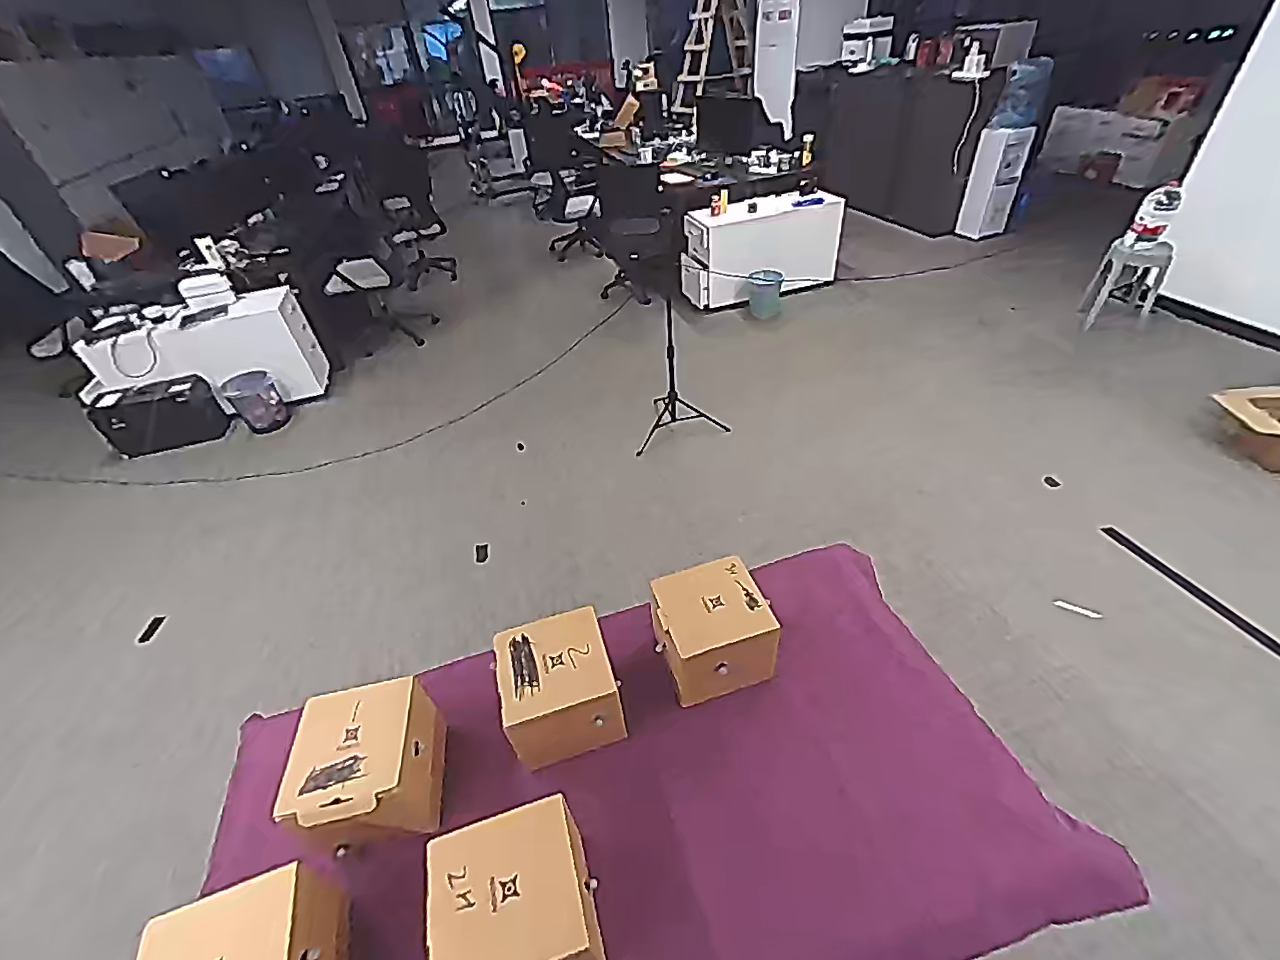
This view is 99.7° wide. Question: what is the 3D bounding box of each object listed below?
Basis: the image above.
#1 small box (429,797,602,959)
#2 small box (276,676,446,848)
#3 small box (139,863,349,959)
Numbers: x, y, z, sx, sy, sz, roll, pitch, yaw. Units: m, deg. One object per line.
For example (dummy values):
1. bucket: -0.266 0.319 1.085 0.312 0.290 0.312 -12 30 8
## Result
1. small box: -0.151 0.540 0.679 0.179 0.176 0.168 -15 41 -10
2. small box: -0.410 0.438 0.833 0.168 0.176 0.179 -10 40 -6
3. small box: -0.464 0.606 0.639 0.168 0.176 0.179 -16 42 -14
